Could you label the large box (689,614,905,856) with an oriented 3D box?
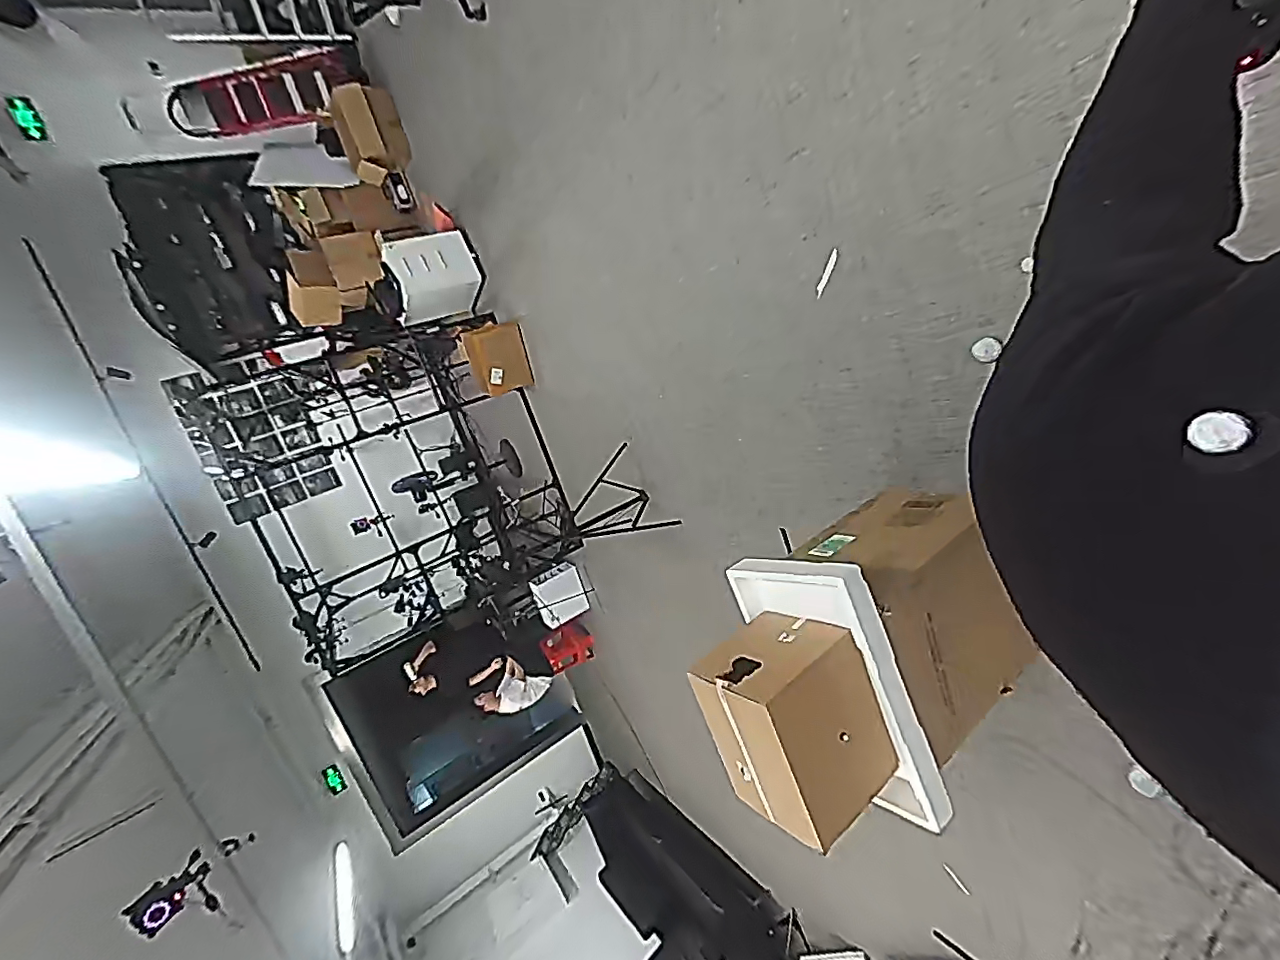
[{"bbox_3d":[0.393,0.604,1.368,0.320,0.320,0.408,-7,108,62],"label":"large box"}]
